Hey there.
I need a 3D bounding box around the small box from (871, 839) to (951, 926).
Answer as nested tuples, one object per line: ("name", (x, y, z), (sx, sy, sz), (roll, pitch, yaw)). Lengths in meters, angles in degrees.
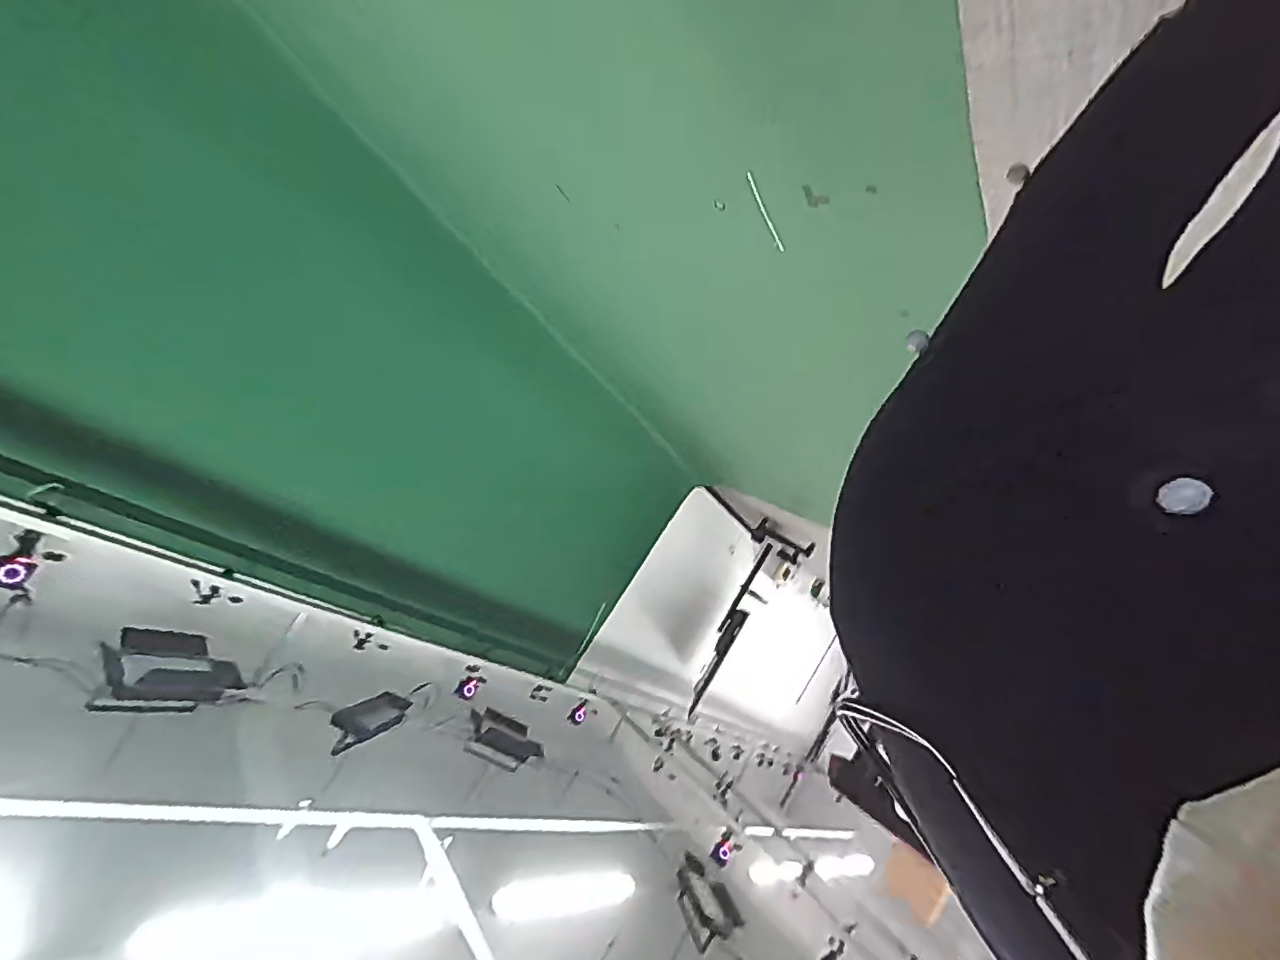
("small box", (0.932, 1.371, 1.856), (0.179, 0.176, 0.168), (27, 171, 45))
